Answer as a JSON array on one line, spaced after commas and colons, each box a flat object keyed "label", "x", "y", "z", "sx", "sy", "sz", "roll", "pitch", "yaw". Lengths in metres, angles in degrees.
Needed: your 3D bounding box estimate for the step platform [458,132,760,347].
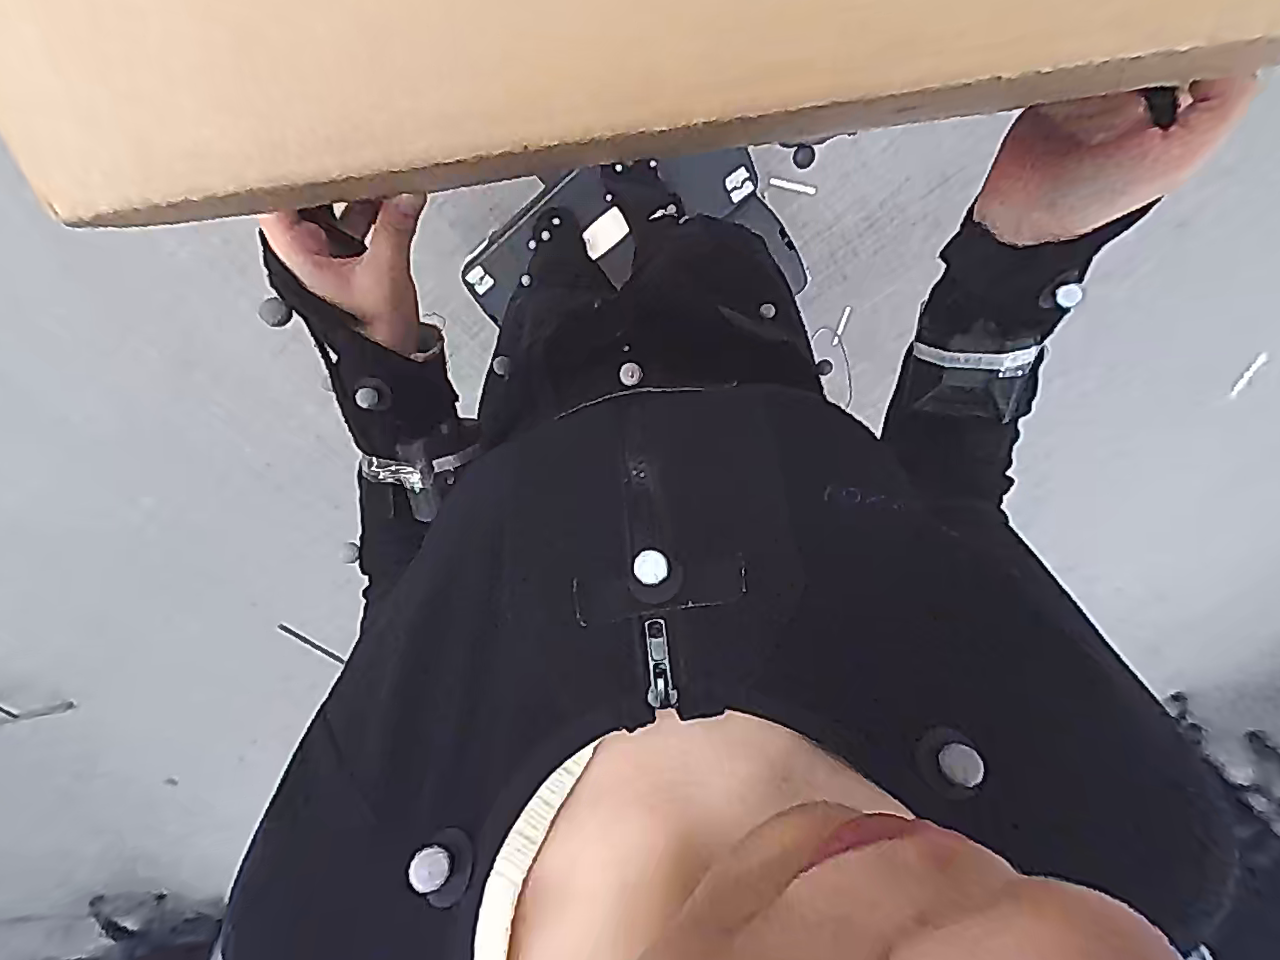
[{"label": "step platform", "x": -0.080, "y": -0.601, "z": 1.234, "sx": 0.684, "sy": 0.204, "sz": 0.286, "roll": -30, "pitch": 121, "yaw": 15}]
